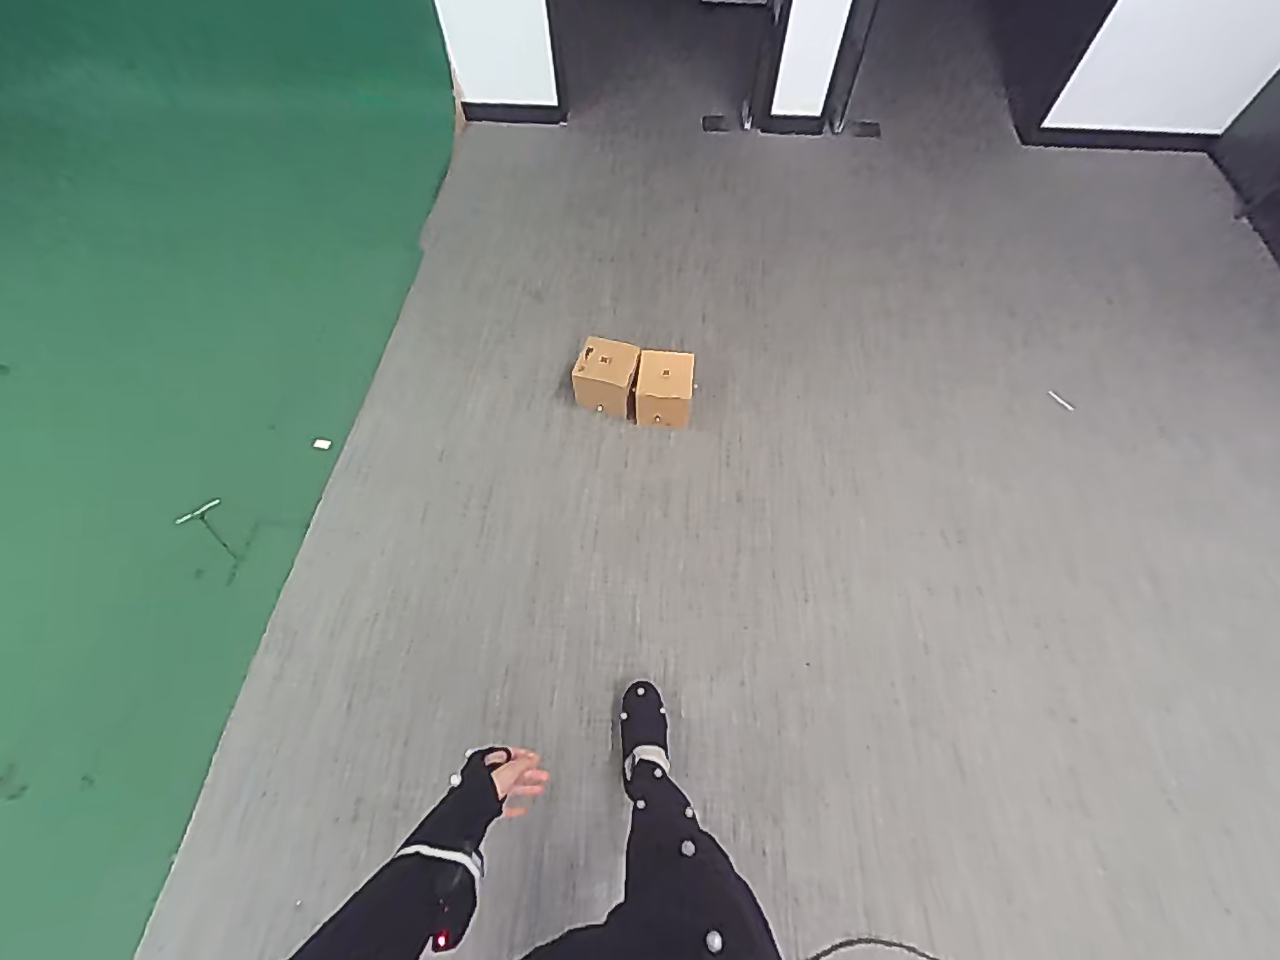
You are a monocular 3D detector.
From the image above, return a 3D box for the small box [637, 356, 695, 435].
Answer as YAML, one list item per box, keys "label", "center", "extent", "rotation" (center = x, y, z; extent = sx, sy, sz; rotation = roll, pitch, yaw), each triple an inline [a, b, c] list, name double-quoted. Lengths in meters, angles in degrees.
- label: "small box"
  center: [0.081, -0.263, 1.698]
  extent: [0.168, 0.176, 0.179]
  rotation: [4, 62, 3]
